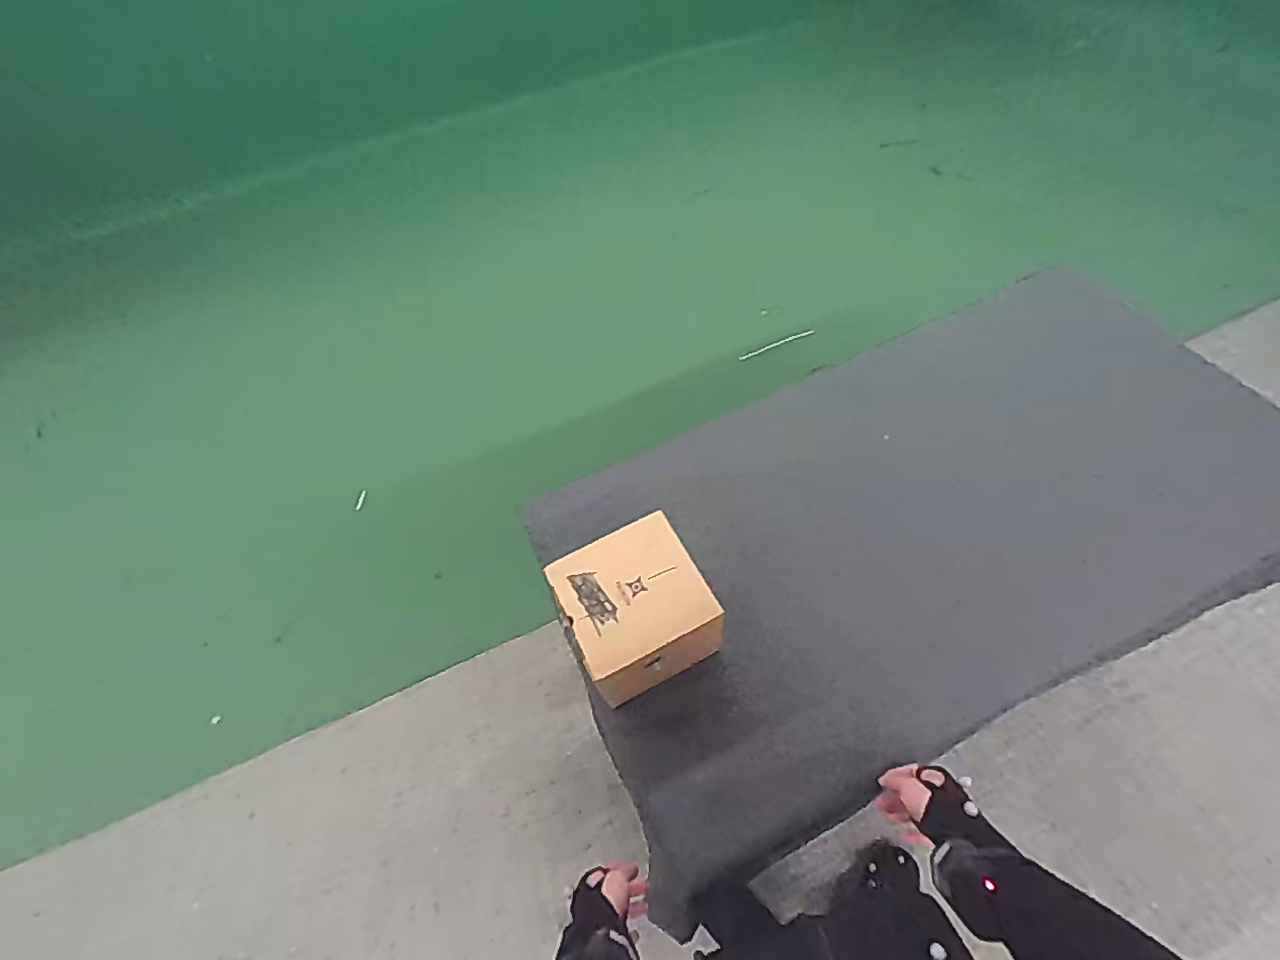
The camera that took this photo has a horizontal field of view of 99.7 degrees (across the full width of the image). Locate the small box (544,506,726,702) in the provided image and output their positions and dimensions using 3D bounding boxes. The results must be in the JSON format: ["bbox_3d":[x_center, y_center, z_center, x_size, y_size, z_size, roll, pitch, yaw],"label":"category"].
[{"bbox_3d":[-0.005,0.170,0.722,0.179,0.176,0.168,-25,59,-14],"label":"small box"}]
